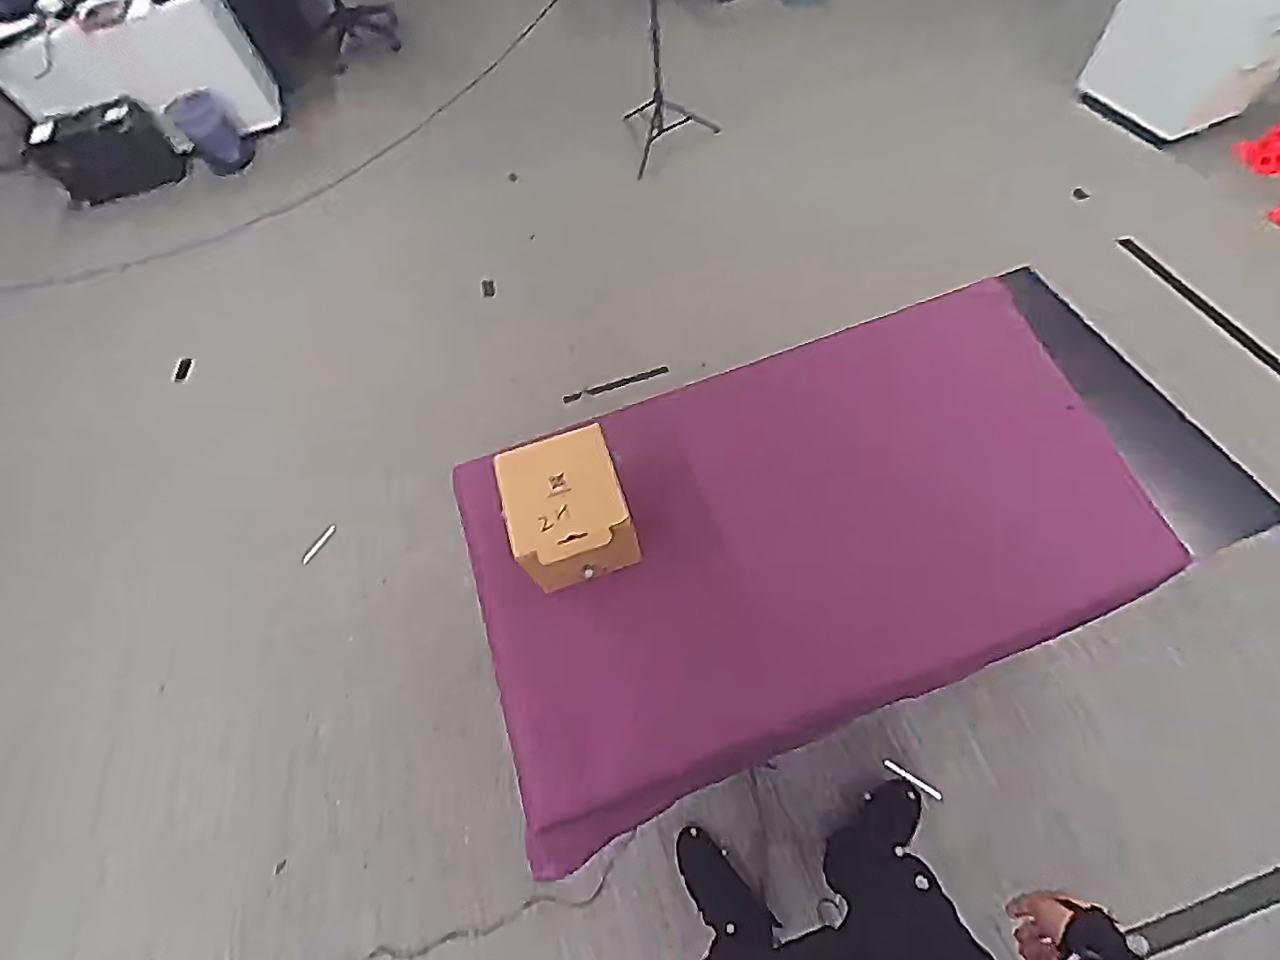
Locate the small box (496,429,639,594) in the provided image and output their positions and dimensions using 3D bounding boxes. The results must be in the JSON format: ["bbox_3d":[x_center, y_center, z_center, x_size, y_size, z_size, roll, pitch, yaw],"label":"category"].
[{"bbox_3d":[-0.108,0.055,0.845,0.168,0.176,0.179,-19,62,-3],"label":"small box"}]
